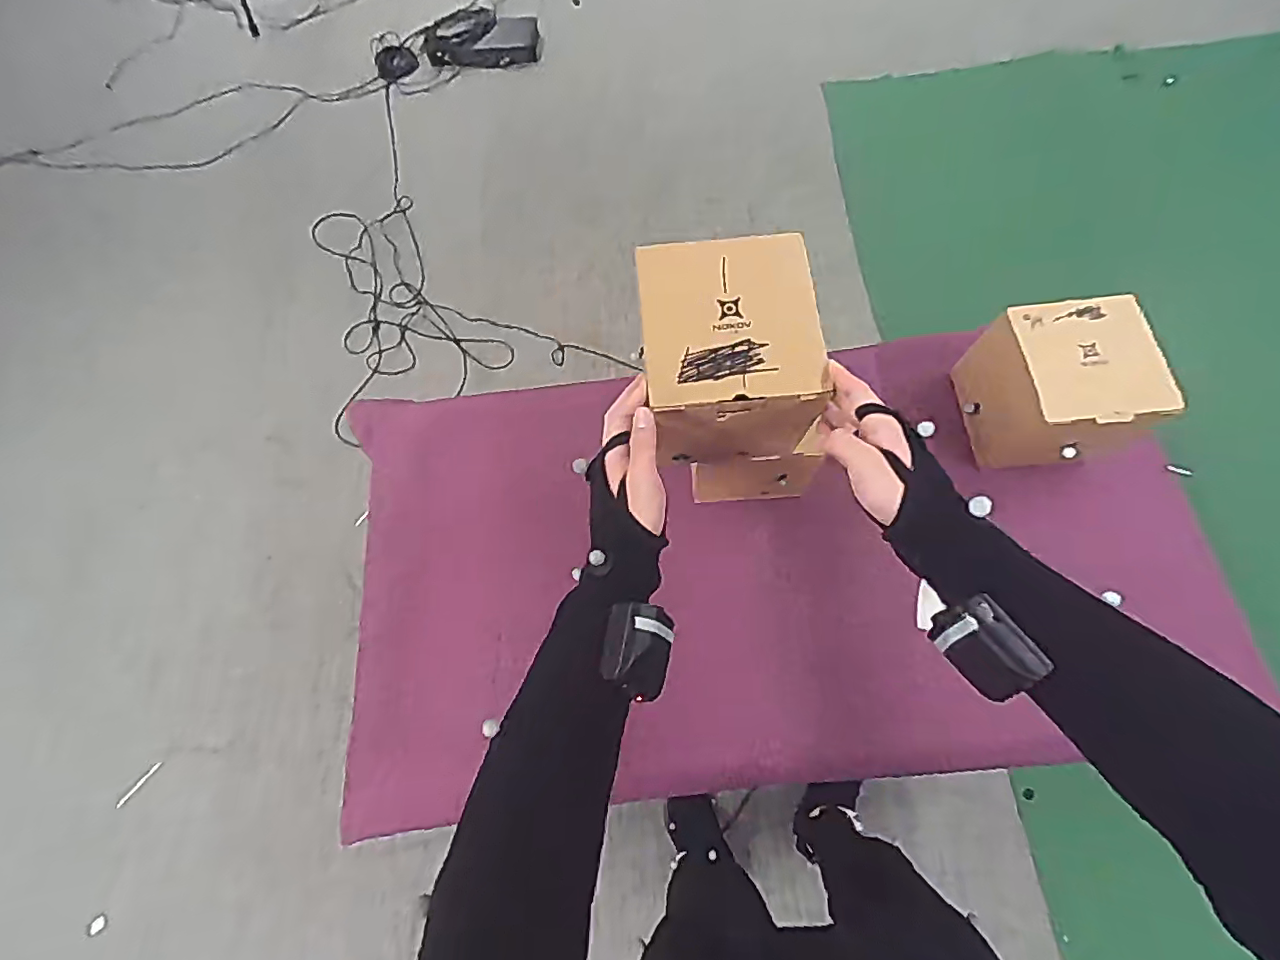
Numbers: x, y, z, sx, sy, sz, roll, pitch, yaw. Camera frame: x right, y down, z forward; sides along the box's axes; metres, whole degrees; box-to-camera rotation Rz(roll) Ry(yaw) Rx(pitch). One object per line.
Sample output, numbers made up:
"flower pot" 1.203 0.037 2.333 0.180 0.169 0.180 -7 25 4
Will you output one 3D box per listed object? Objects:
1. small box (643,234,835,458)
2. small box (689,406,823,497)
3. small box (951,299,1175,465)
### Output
"small box" 0.093 -0.129 0.584 0.168 0.176 0.179 -4 73 1
"small box" 0.156 -0.079 0.789 0.168 0.176 0.179 -3 69 3
"small box" 0.579 -0.127 0.770 0.168 0.176 0.179 -5 71 3
